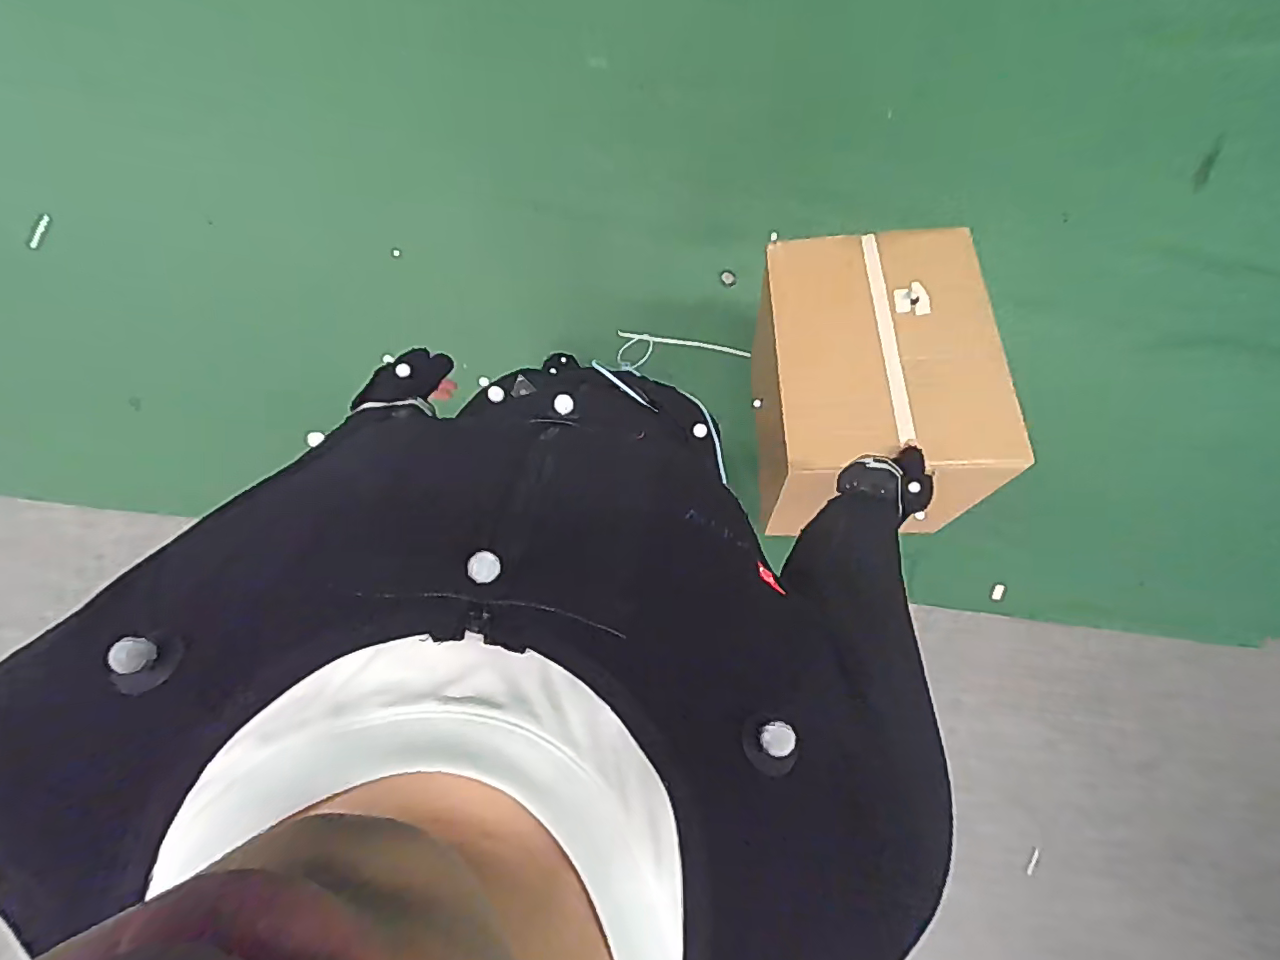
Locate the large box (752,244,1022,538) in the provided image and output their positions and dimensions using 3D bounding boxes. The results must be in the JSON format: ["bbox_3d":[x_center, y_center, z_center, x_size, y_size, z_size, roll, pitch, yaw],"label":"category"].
[{"bbox_3d":[0.376,-0.135,0.947,0.320,0.320,0.408,-1,67,5],"label":"large box"}]
